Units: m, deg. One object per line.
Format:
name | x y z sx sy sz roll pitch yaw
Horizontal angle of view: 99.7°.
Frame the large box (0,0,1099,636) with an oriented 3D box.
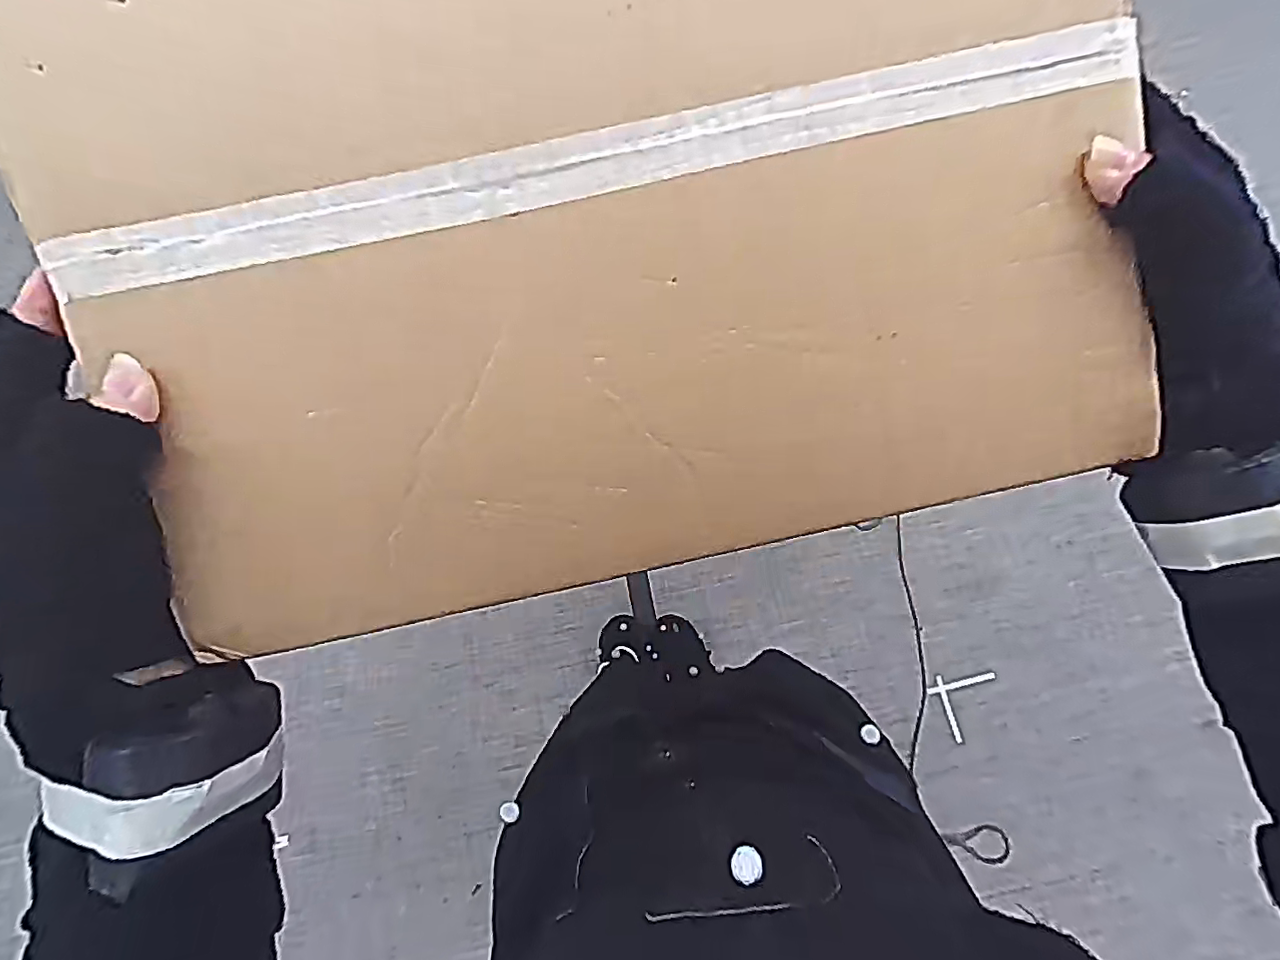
large box | -0.022 -0.146 0.360 0.408 0.320 0.320 -12 99 -2
